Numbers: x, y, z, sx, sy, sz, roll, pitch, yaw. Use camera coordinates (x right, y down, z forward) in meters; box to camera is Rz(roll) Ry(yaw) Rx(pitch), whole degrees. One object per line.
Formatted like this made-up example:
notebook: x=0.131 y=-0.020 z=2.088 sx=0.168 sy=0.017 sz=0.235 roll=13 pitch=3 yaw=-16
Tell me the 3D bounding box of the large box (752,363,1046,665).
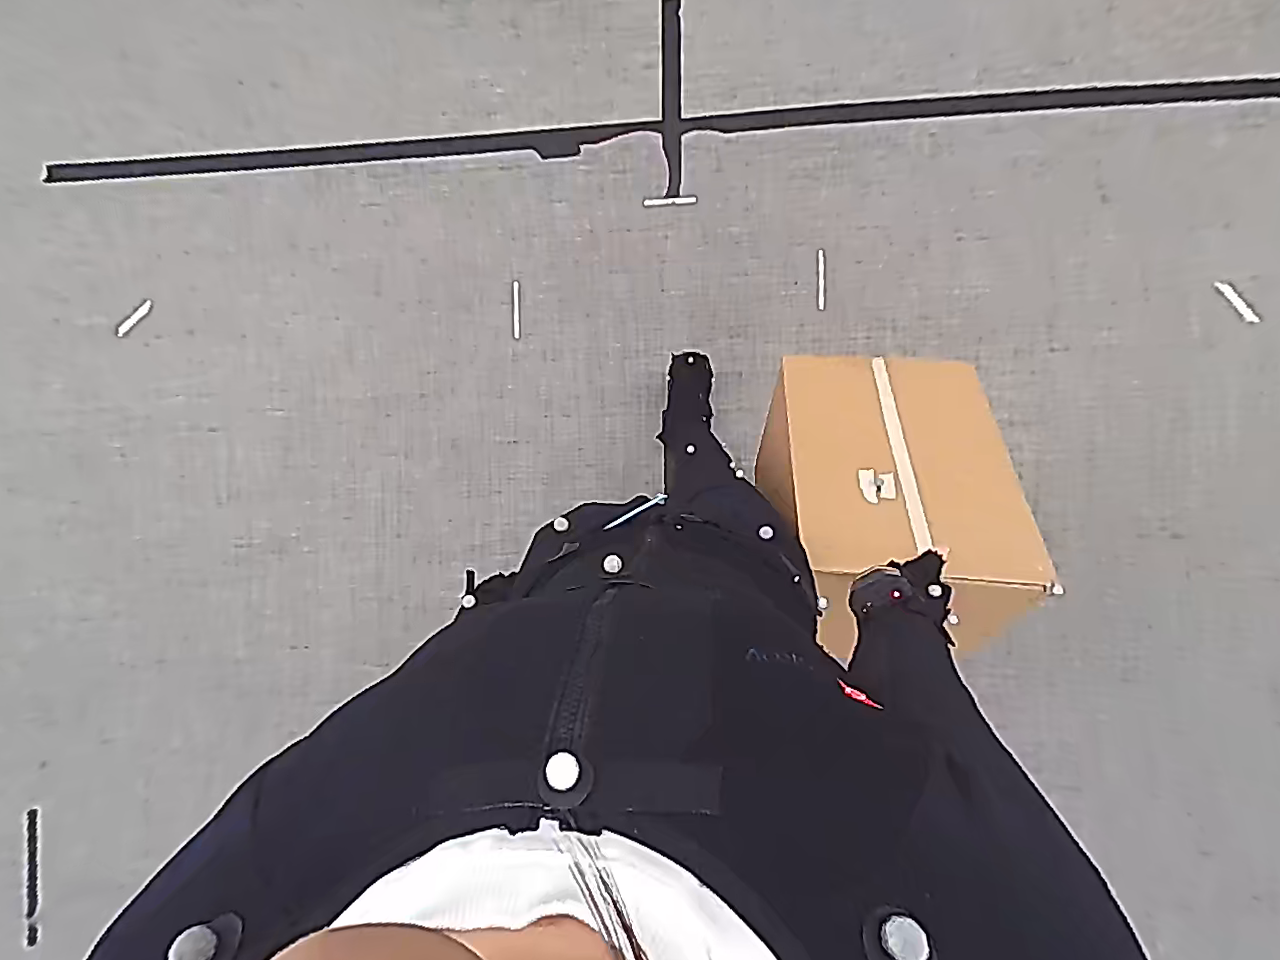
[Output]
large box: x=0.371 y=0.056 z=0.914 sx=0.320 sy=0.320 sz=0.408 roll=3 pitch=54 yaw=5
